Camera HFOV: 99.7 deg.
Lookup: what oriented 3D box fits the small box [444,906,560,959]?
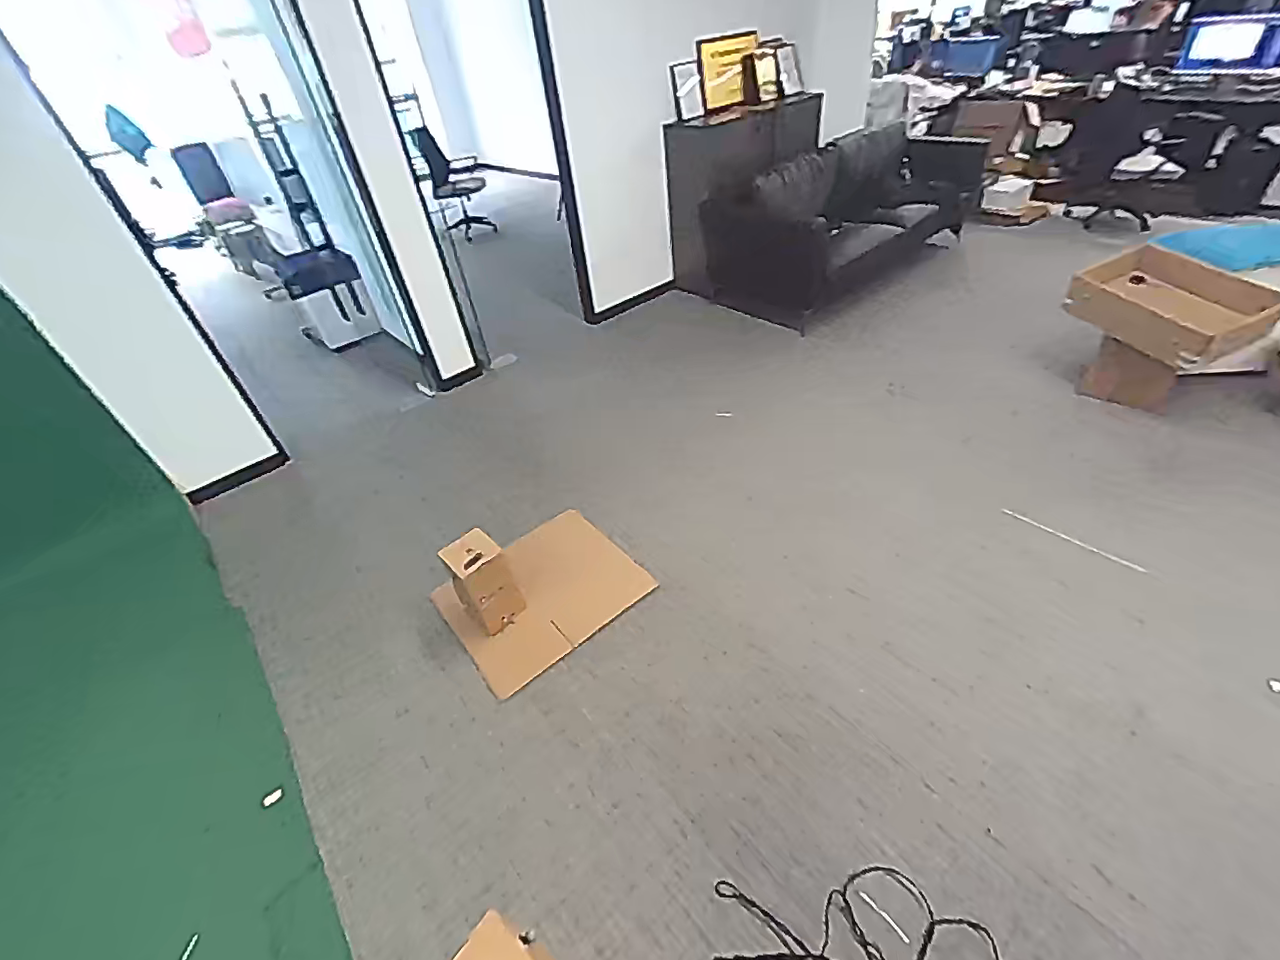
[{"bbox_3d":[-0.124,0.561,0.509,0.179,0.176,0.168,23,52,36],"label":"small box"}]

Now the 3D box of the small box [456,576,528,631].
[{"bbox_3d":[-0.541,0.420,1.990,0.179,0.176,0.168,28,52,34],"label":"small box"}]

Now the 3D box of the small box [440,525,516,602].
[{"bbox_3d":[-0.560,0.296,1.884,0.168,0.176,0.179,-36,47,-28],"label":"small box"}]
